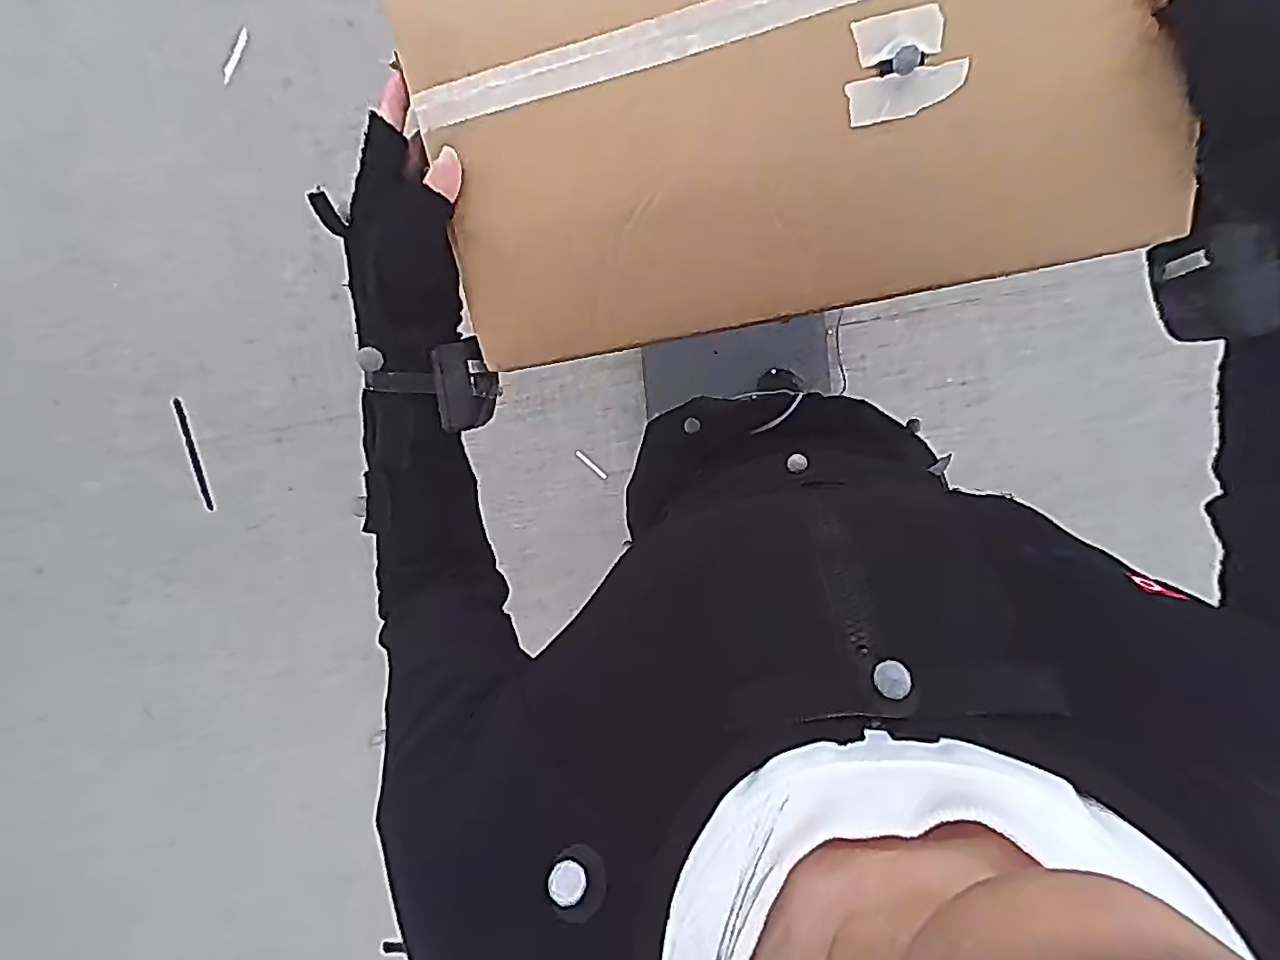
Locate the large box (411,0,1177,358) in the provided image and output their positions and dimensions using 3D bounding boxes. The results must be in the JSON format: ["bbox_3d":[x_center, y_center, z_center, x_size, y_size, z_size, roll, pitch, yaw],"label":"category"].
[{"bbox_3d":[0.087,-0.301,0.438,0.408,0.320,0.320,-9,106,11],"label":"large box"}]
